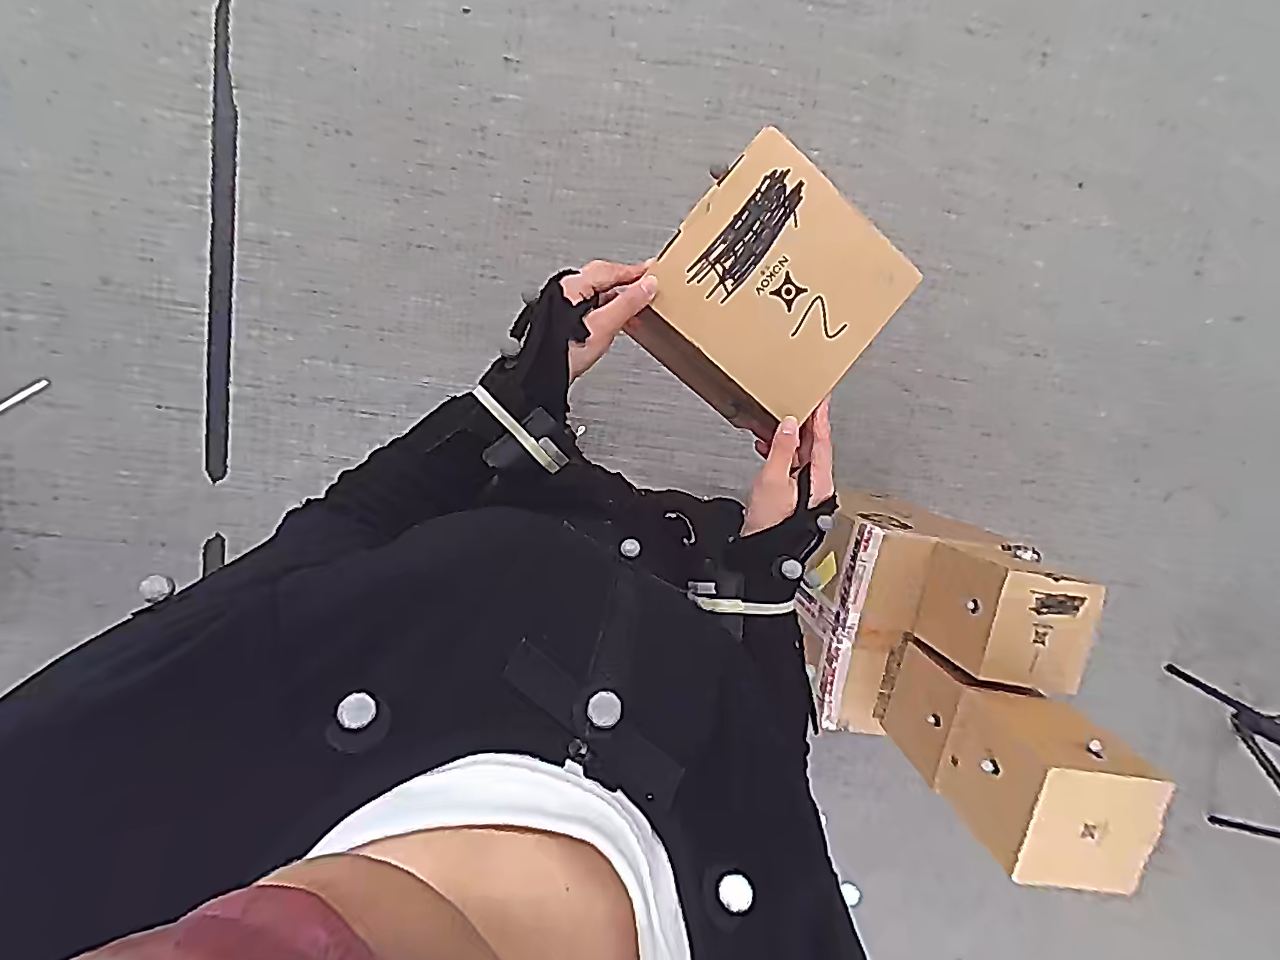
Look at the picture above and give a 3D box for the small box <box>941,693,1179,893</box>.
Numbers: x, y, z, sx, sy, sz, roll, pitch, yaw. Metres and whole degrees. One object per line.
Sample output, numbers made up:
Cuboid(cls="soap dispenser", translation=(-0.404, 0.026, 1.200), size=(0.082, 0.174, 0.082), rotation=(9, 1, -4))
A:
Cuboid(cls="small box", translation=(0.558, 0.419, 0.747), size=(0.179, 0.176, 0.168), rotation=(9, 99, -6))
